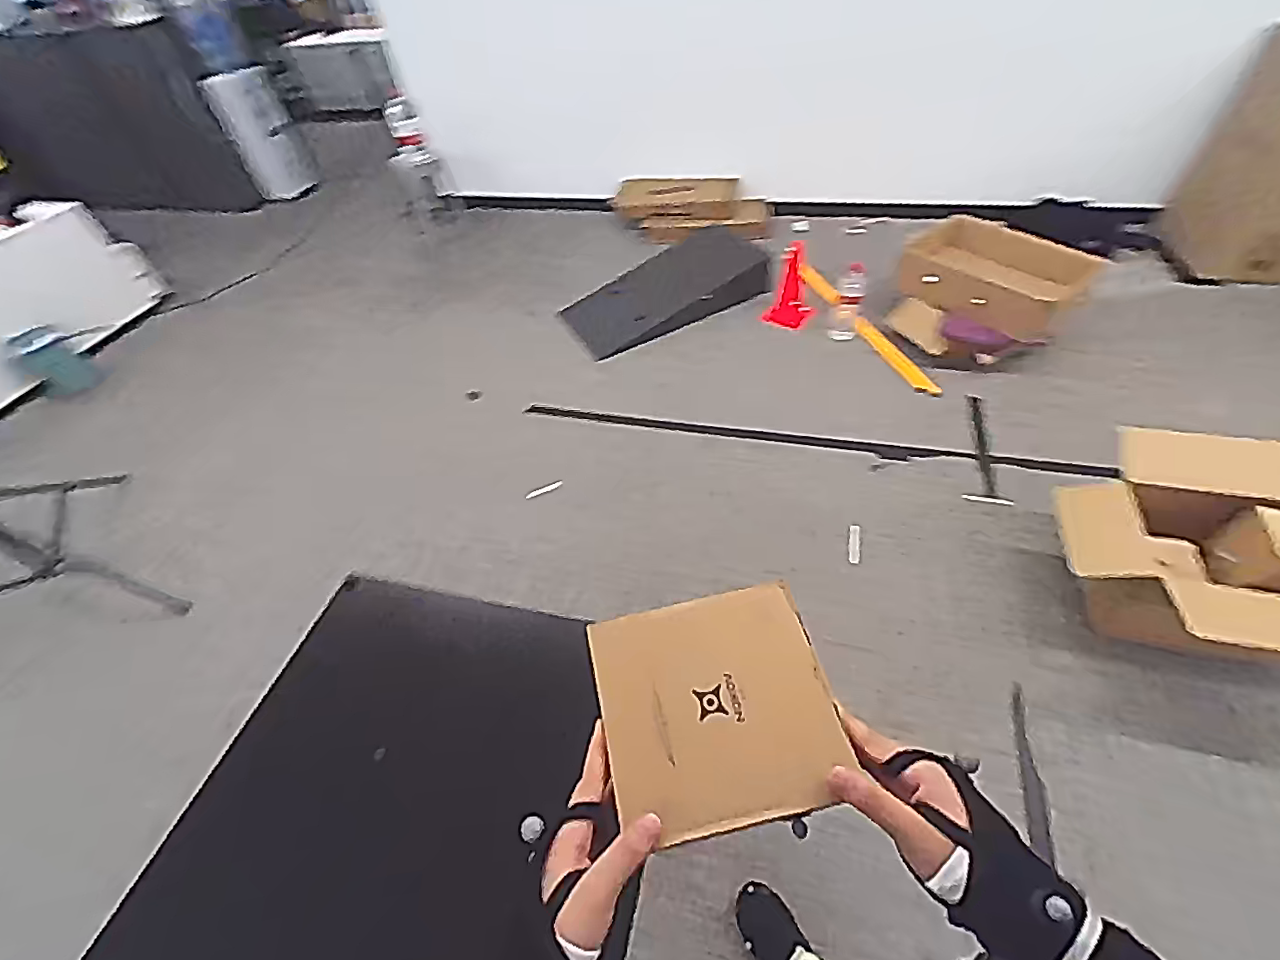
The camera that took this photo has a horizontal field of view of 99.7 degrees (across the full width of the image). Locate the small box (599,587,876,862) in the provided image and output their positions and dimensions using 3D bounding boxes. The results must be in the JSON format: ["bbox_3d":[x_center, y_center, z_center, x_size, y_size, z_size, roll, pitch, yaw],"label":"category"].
[{"bbox_3d":[0.072,0.218,0.477,0.179,0.176,0.168,-13,54,-2],"label":"small box"}]
